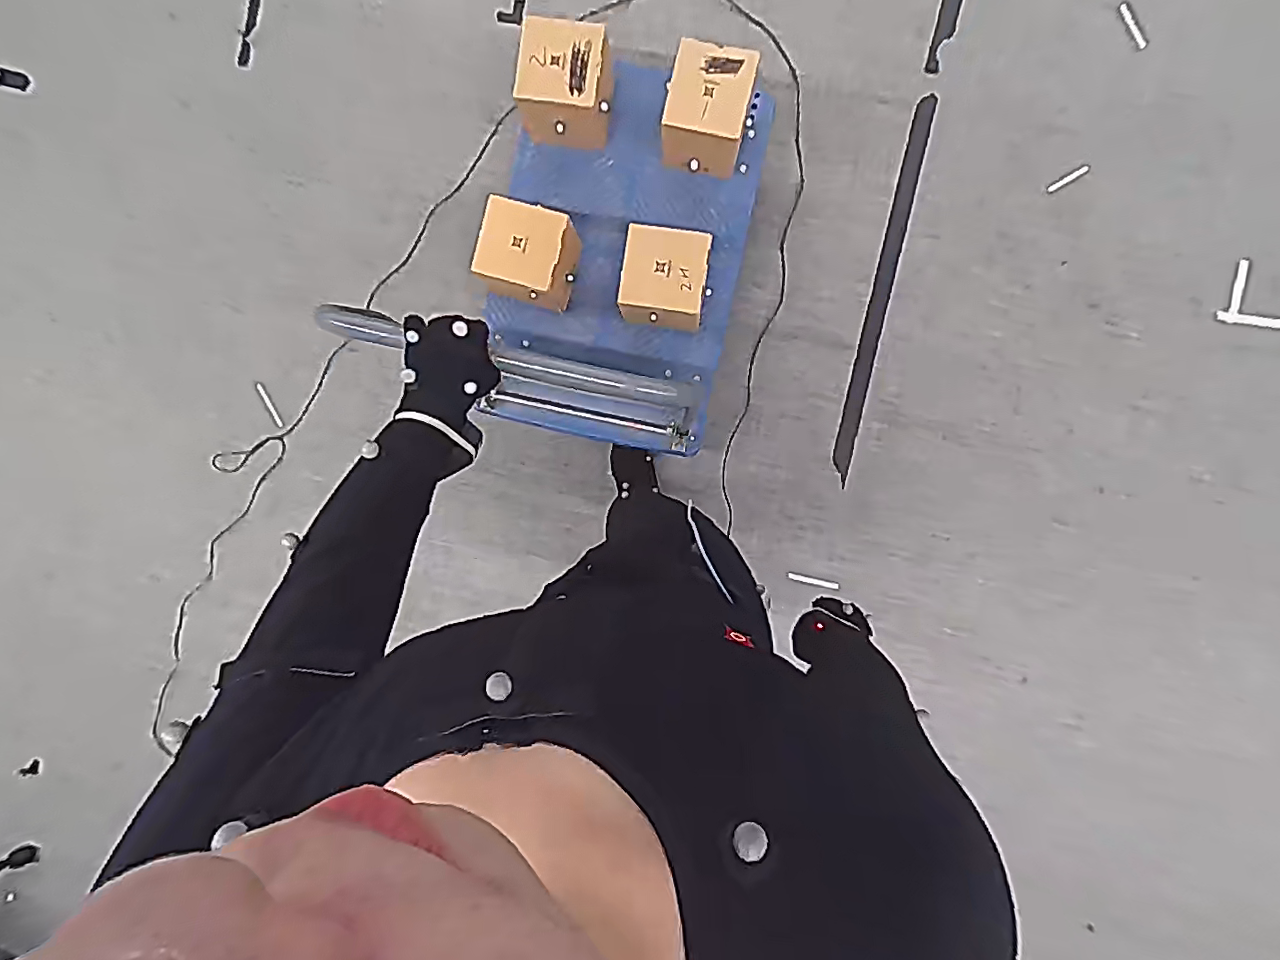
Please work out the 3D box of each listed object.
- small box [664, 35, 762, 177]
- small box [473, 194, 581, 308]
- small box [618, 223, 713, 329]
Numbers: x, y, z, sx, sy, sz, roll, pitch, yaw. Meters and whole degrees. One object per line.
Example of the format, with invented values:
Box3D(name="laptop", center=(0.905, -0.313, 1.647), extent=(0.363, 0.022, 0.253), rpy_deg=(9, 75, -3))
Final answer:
Box3D(name="small box", center=(0.151, -0.797, 1.170), extent=(0.168, 0.176, 0.179), rpy_deg=(14, 95, 3))
Box3D(name="small box", center=(-0.245, -0.502, 1.211), extent=(0.179, 0.176, 0.168), rpy_deg=(16, 93, 2))
Box3D(name="small box", center=(0.058, -0.441, 1.192), extent=(0.179, 0.176, 0.168), rpy_deg=(10, 93, 4))
